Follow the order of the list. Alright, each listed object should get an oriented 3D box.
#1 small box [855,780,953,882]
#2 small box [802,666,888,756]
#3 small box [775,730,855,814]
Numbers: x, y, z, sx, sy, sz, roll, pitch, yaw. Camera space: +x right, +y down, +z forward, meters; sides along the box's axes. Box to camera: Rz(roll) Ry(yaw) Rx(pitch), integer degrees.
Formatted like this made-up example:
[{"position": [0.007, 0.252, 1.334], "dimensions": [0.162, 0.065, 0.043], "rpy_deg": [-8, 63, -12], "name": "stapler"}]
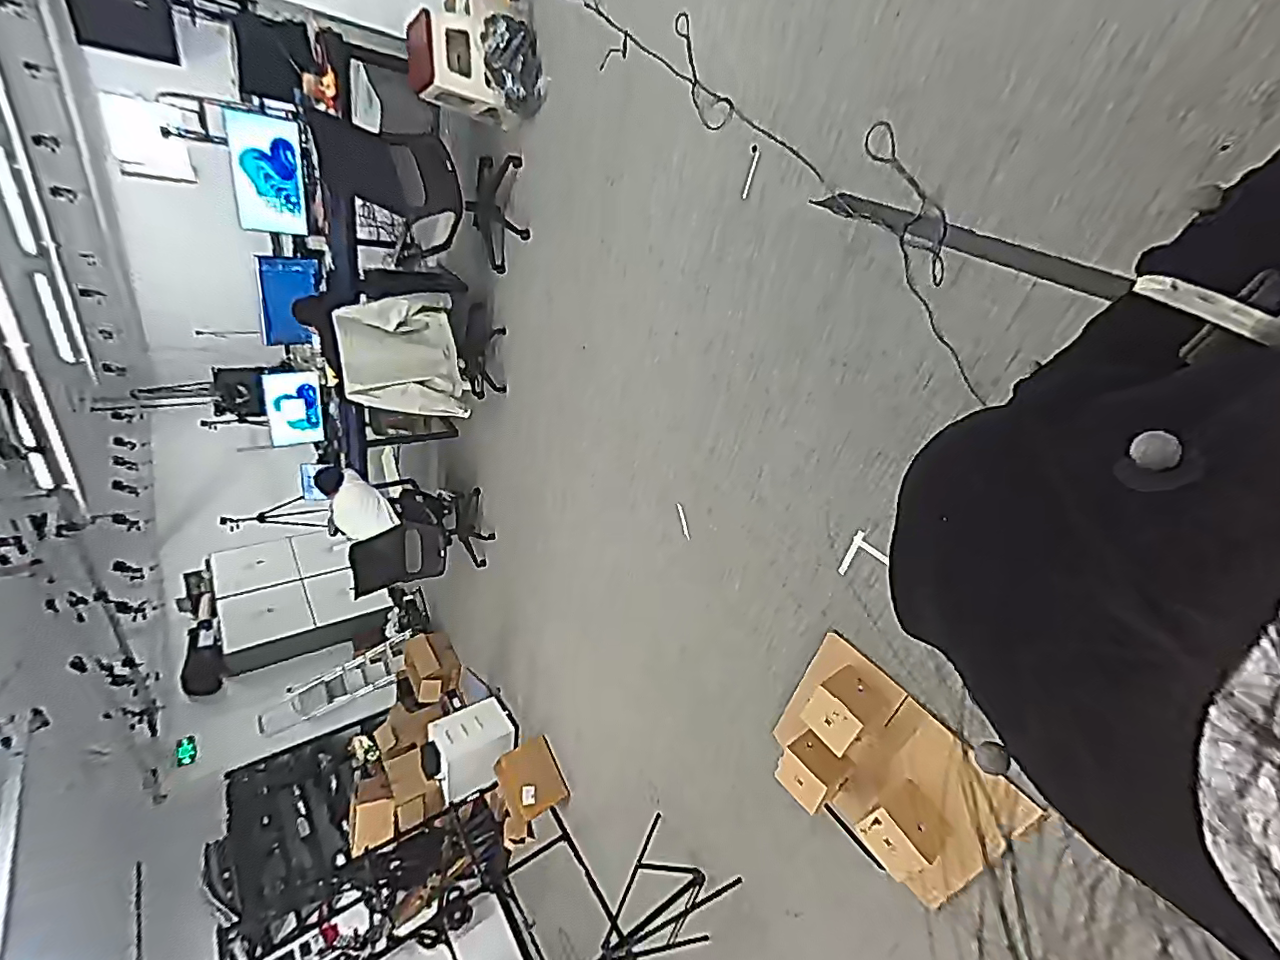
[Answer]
[{"position": [0.805, 1.061, 1.643], "dimensions": [0.179, 0.176, 0.168], "rpy_deg": [49, 134, 31], "name": "small box"}, {"position": [0.661, 0.738, 1.742], "dimensions": [0.168, 0.176, 0.179], "rpy_deg": [42, 129, 37], "name": "small box"}, {"position": [0.611, 1.006, 1.886], "dimensions": [0.179, 0.176, 0.168], "rpy_deg": [38, 129, 41], "name": "small box"}]
